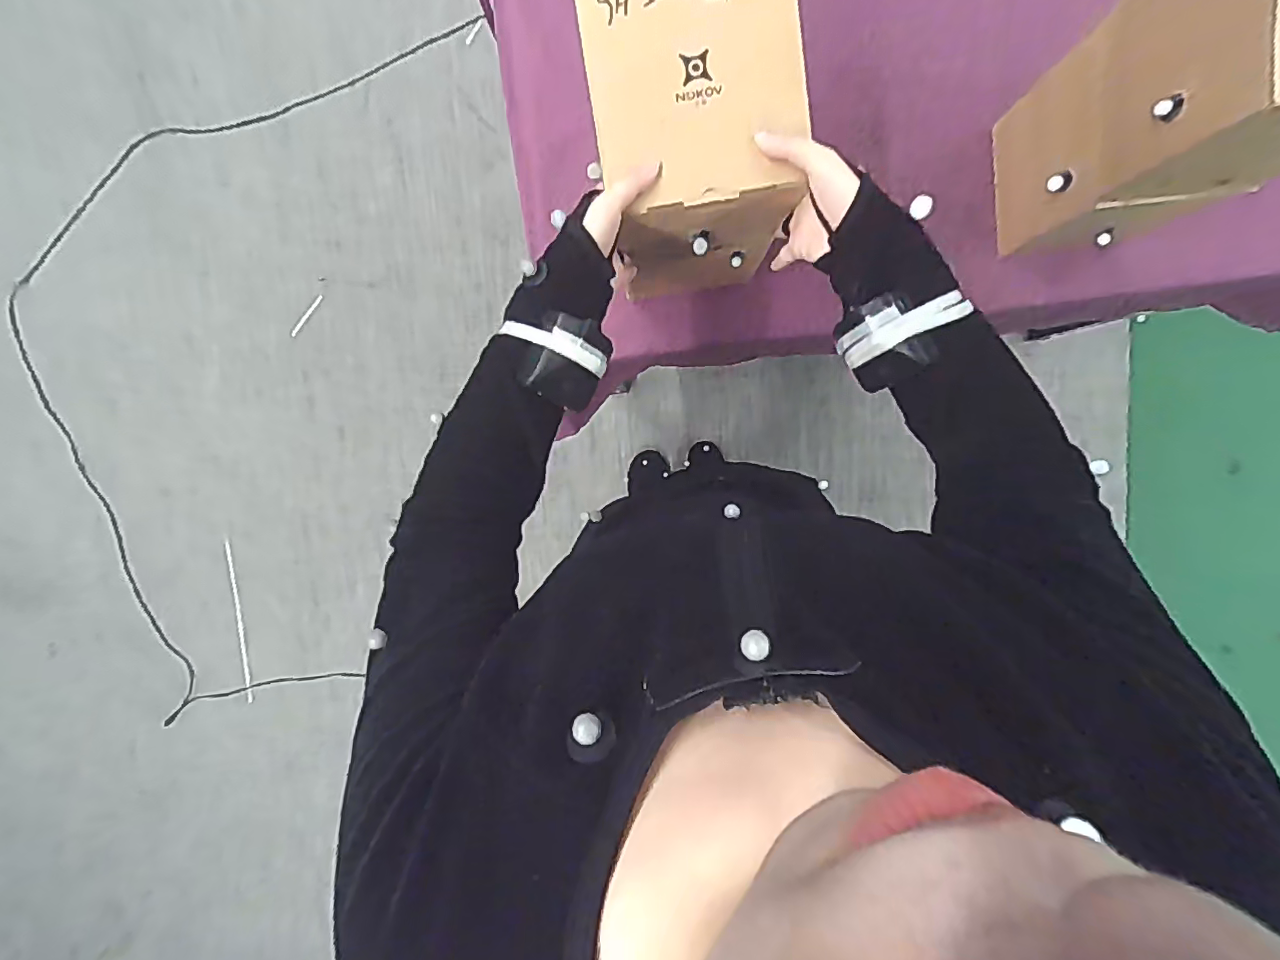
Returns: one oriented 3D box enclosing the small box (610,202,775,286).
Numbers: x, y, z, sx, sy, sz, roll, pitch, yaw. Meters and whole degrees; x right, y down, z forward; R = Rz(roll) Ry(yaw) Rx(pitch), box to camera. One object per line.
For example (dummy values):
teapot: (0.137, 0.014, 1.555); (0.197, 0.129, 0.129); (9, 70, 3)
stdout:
small box: (0.053, -0.347, 0.654); (0.179, 0.176, 0.168); (-8, 94, 3)

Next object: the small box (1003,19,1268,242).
small box: (0.553, -0.390, 0.626); (0.168, 0.176, 0.179); (-5, 95, 3)

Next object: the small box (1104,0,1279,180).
small box: (0.546, -0.379, 0.463); (0.168, 0.176, 0.179); (-3, 95, 3)

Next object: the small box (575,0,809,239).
small box: (0.042, -0.336, 0.490); (0.168, 0.176, 0.179); (-9, 95, 2)
